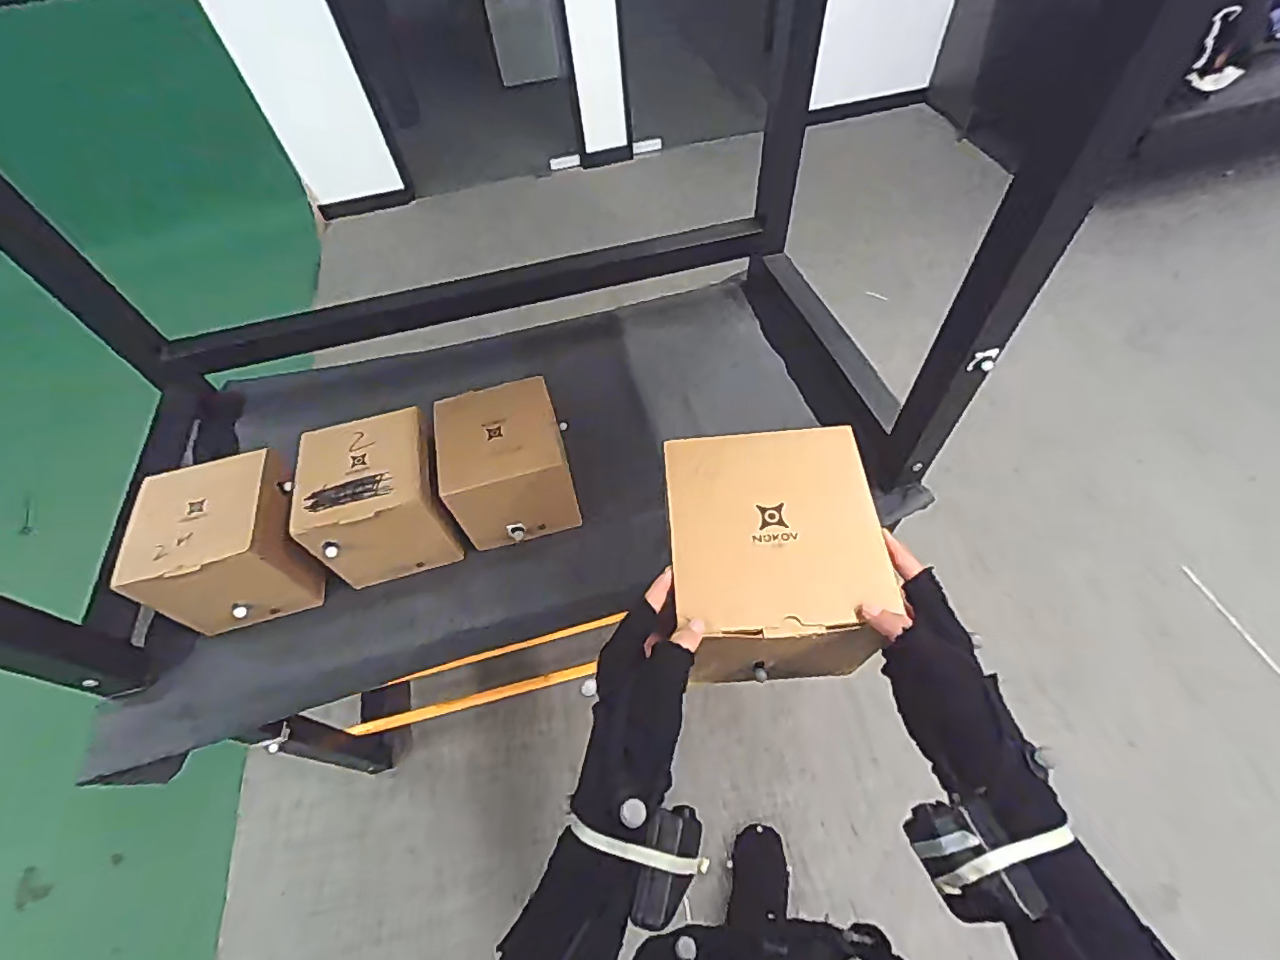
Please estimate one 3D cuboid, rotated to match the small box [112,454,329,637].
[{"bbox_3d":[-0.567,0.095,0.765,0.168,0.176,0.179,-15,55,-6],"label":"small box"}]
